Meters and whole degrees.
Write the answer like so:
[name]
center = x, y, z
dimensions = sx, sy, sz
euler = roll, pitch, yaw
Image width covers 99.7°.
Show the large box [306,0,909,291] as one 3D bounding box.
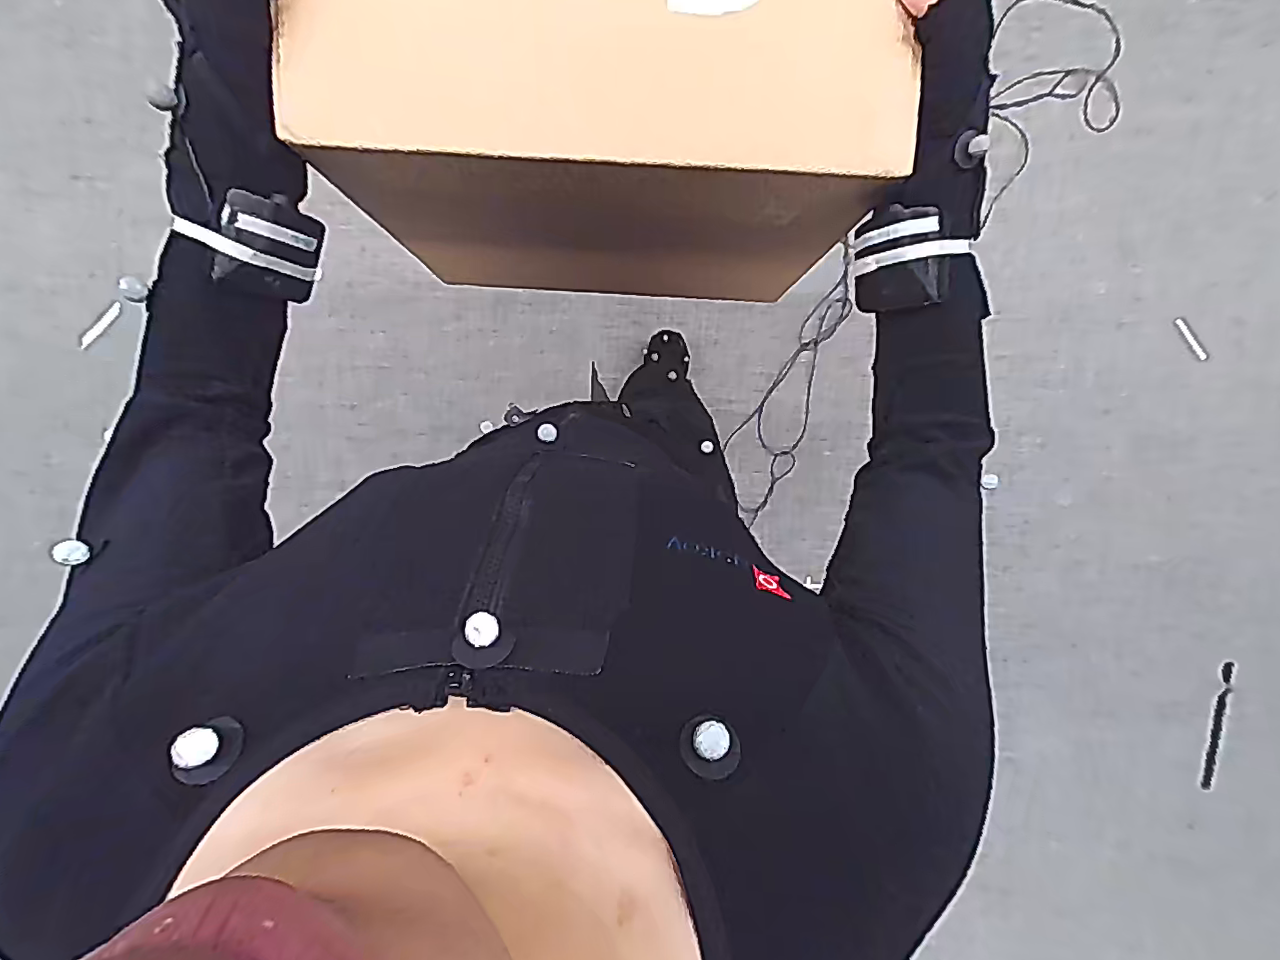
[large box]
center = -0.022, -0.377, 0.501
dimensions = 0.408, 0.320, 0.320
euler = 2, 94, -2
